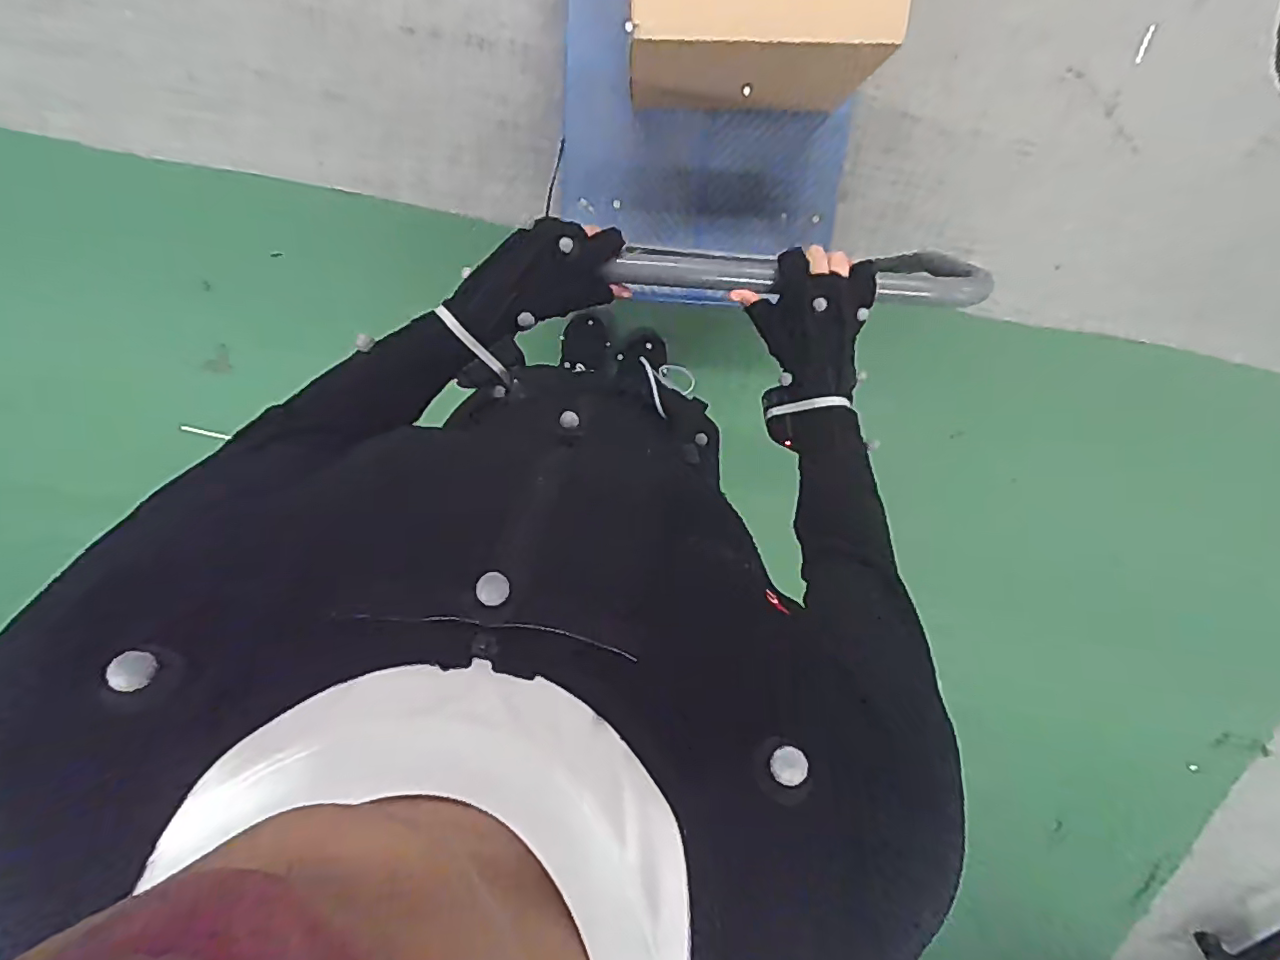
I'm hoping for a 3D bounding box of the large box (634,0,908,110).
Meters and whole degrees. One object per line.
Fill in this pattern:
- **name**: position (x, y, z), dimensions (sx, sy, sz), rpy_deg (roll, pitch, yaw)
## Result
- **large box**: position (0.194, -0.837, 0.895), dimensions (0.408, 0.320, 0.320), rpy_deg (1, 108, -1)
